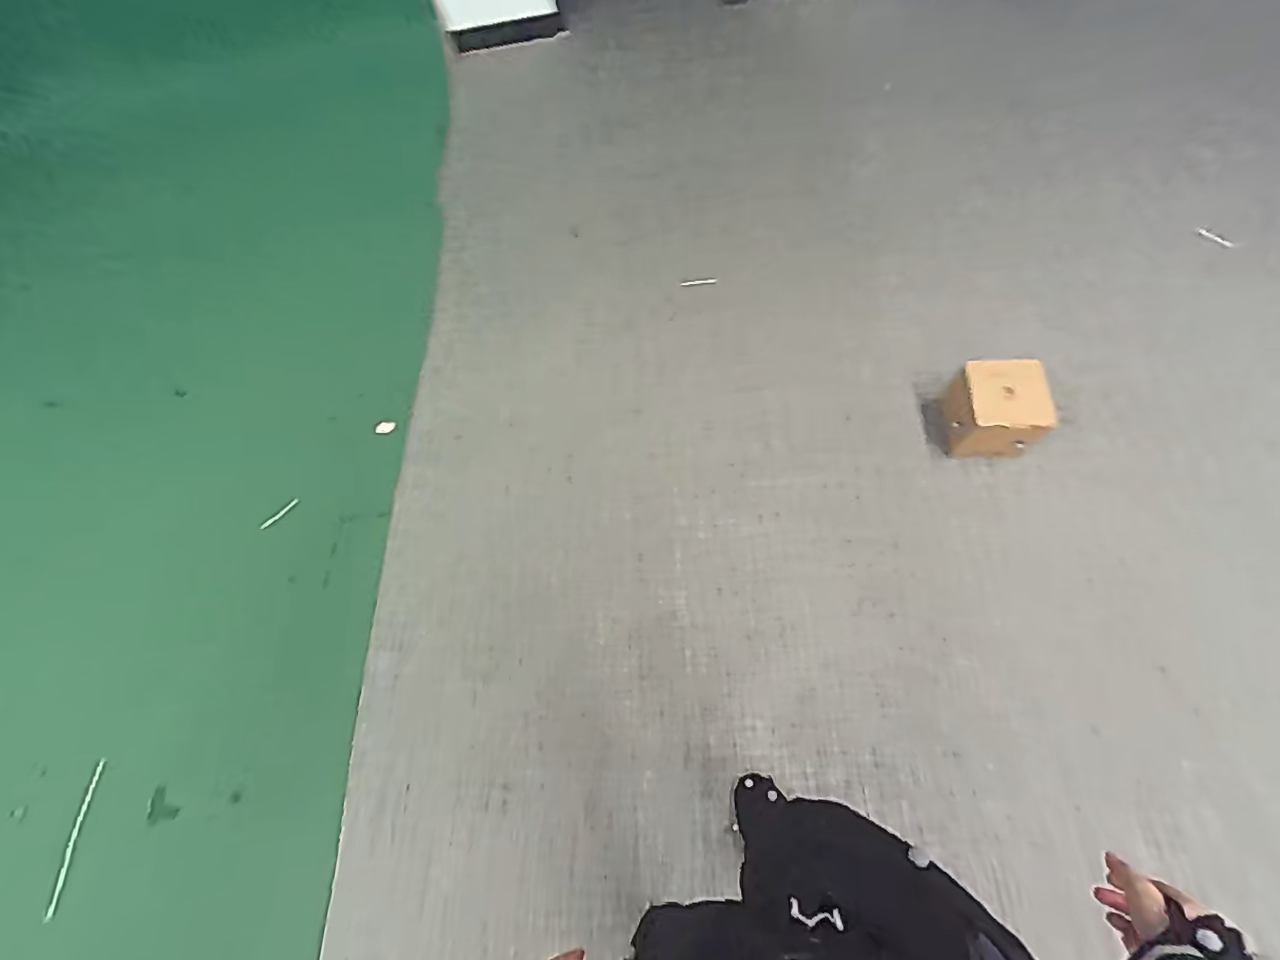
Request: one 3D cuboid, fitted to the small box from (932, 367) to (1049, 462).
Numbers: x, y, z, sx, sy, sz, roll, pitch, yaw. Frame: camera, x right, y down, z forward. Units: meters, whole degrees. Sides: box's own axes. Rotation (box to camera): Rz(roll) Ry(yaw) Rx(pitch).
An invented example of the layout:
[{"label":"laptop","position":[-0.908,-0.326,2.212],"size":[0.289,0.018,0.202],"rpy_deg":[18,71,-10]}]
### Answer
[{"label":"small box","position":[0.828,-0.151,1.296],"size":[0.168,0.176,0.179],"rpy_deg":[1,65,6]}]
